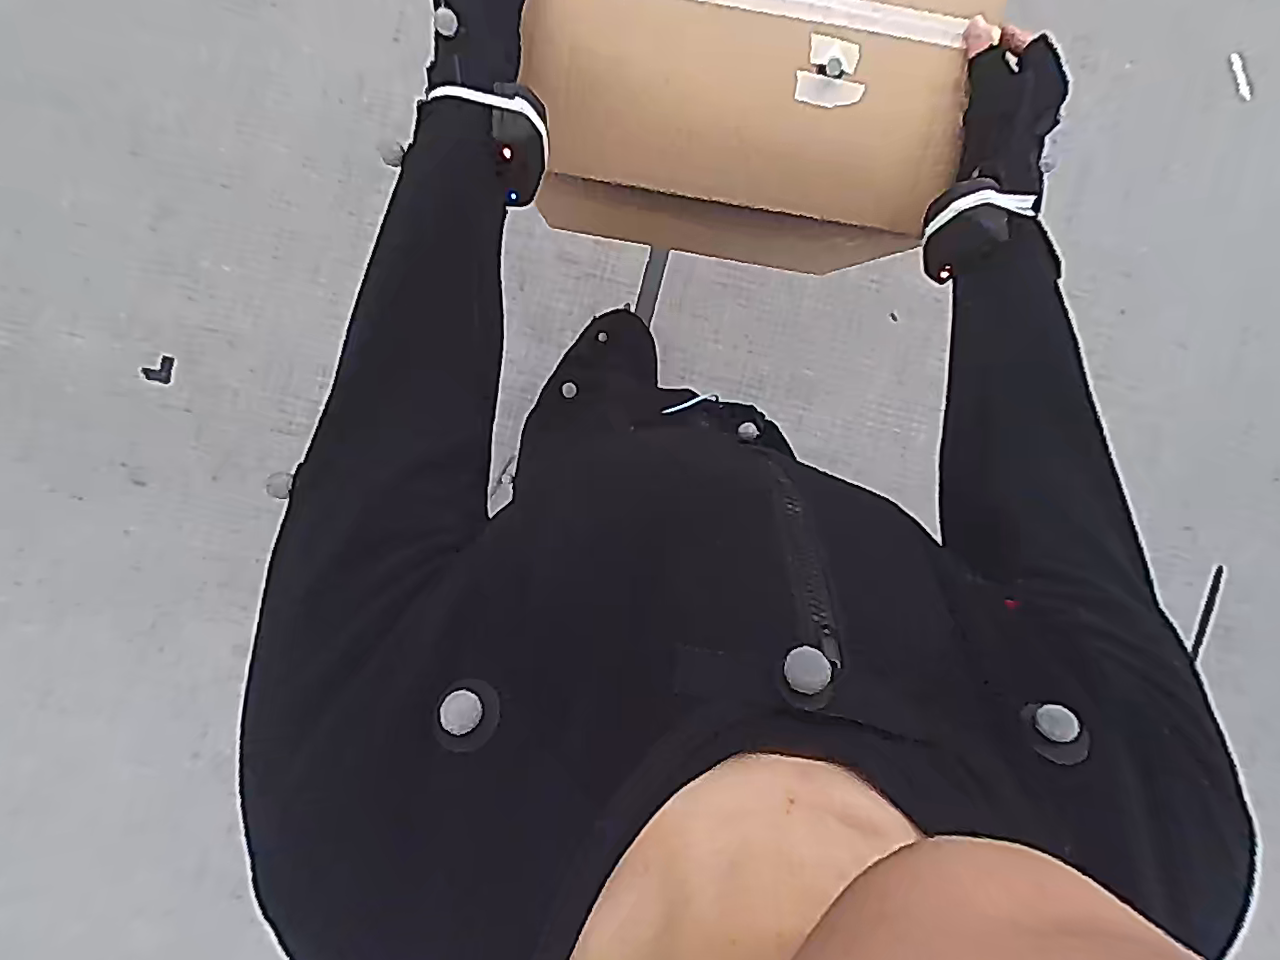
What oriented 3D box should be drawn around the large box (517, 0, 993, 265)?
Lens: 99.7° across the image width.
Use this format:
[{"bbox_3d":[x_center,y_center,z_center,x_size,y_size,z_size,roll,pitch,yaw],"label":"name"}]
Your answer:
[{"bbox_3d":[0.096,-0.447,0.604,0.408,0.320,0.320,8,105,-5],"label":"large box"}]
